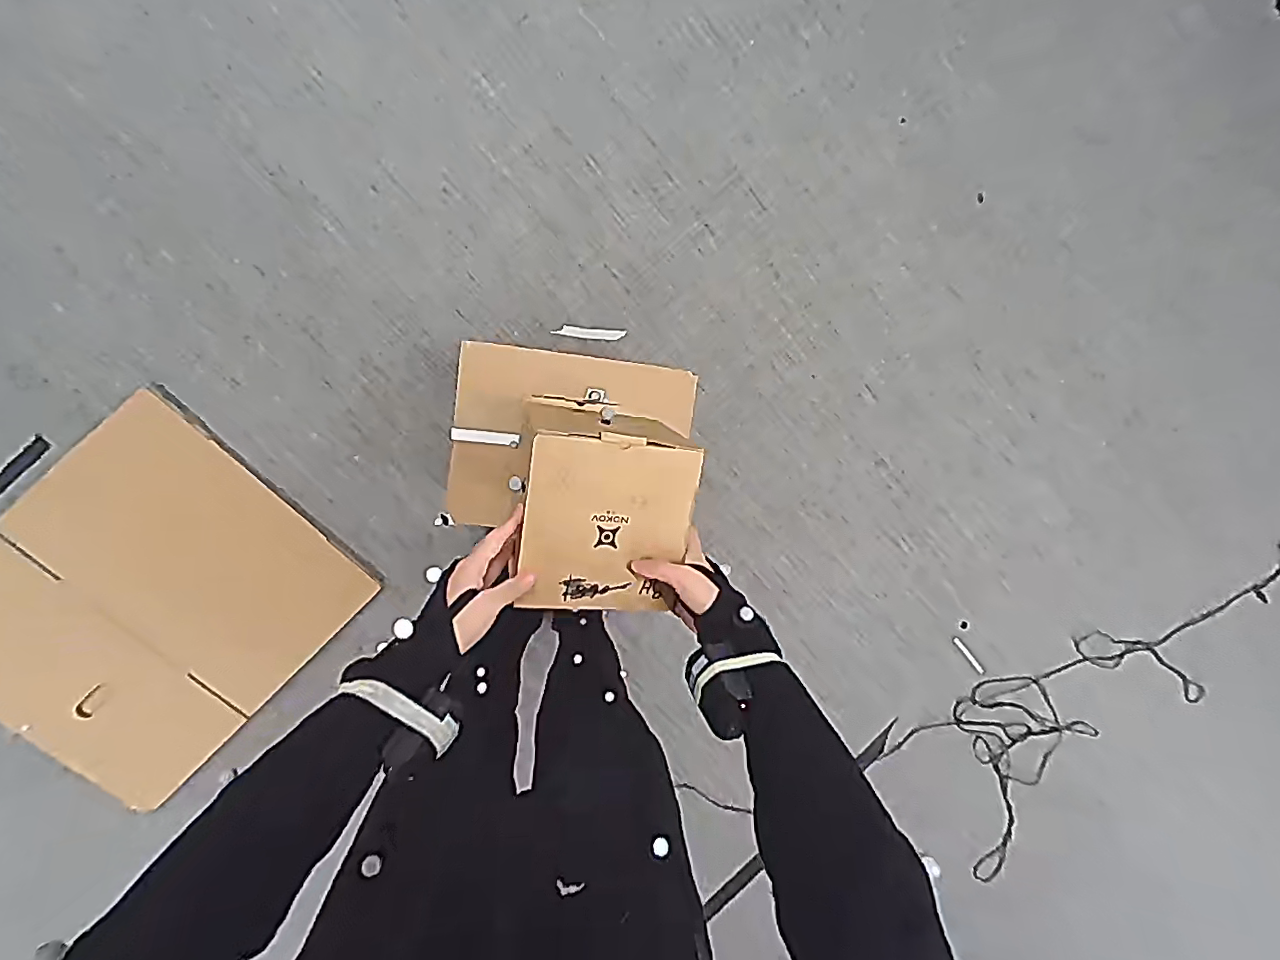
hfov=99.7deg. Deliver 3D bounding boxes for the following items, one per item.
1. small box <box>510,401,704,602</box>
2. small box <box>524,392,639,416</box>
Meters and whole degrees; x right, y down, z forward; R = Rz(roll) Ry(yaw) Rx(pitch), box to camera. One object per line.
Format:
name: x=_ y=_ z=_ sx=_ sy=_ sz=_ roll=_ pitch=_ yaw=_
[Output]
small box: x=-0.049 y=0.016 z=0.595 sx=0.168 sy=0.176 sz=0.179 roll=6 pitch=105 yaw=-17
small box: x=-0.104 y=-0.039 z=0.852 sx=0.168 sy=0.176 sz=0.179 roll=4 pitch=96 yaw=-11
